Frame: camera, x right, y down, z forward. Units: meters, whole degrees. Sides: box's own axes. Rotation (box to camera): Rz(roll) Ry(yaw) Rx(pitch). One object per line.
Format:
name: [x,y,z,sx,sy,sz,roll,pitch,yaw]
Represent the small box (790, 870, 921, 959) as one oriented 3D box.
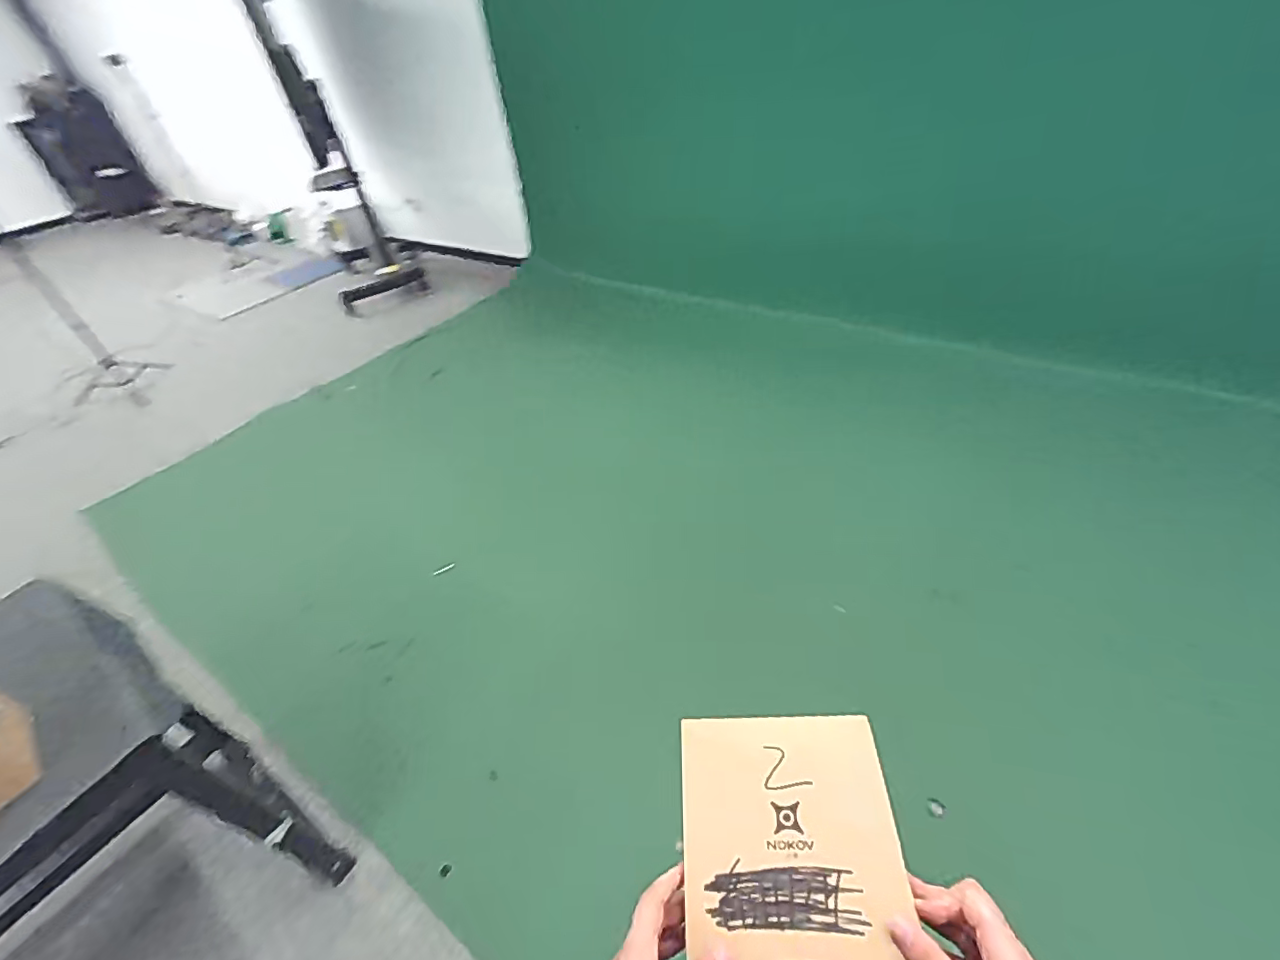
small box: [0.411,0.914,1.051,0.179,0.176,0.168,25,52,32]
